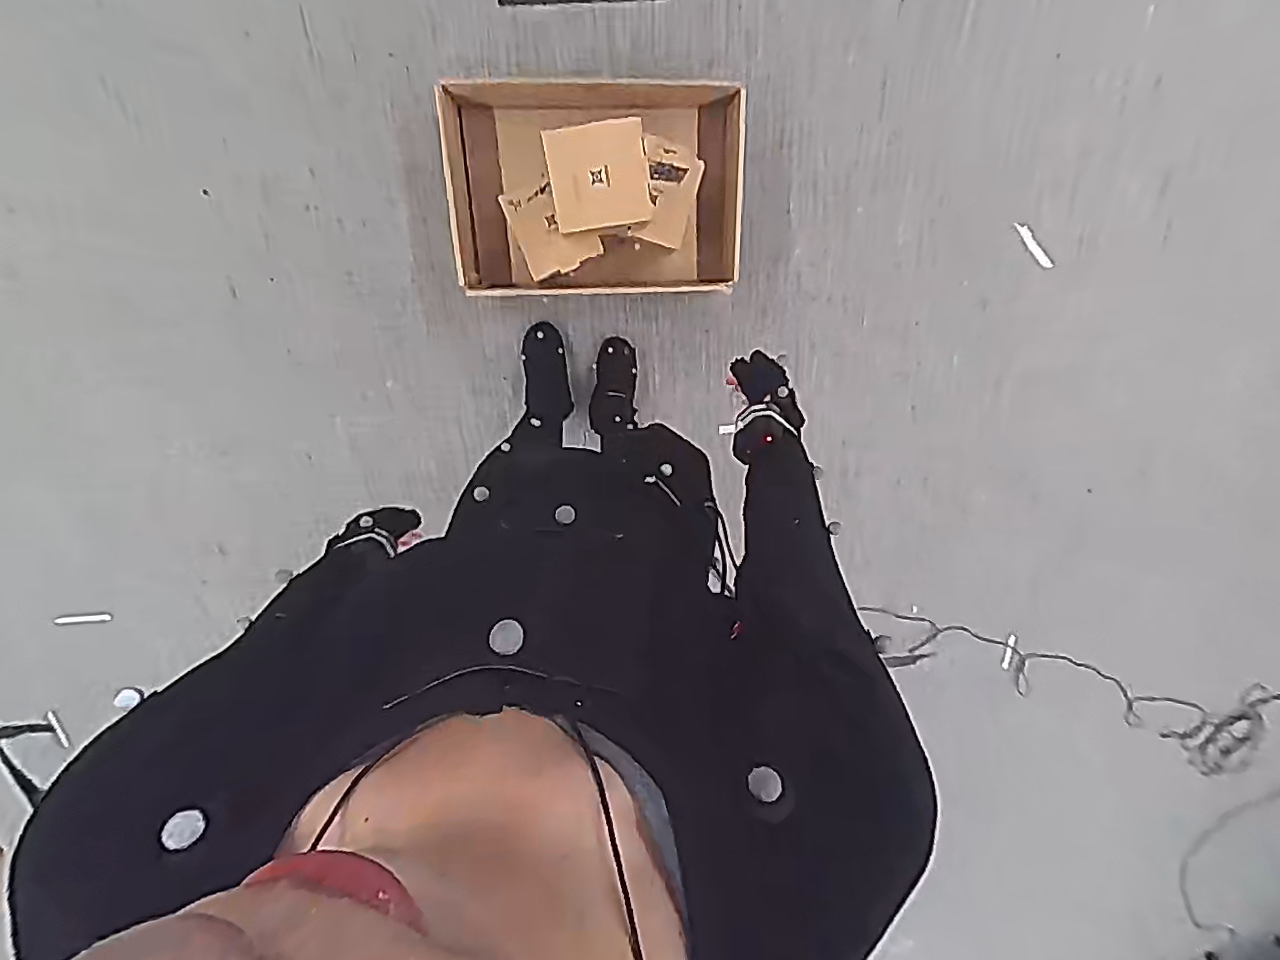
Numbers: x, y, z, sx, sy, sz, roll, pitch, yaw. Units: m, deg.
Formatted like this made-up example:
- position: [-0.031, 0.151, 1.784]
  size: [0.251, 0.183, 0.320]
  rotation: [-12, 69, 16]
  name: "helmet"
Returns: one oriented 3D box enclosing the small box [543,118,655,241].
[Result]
- position: [-0.076, -0.557, 1.022]
  size: [0.179, 0.176, 0.168]
  rotation: [-10, 109, -1]
  name: "small box"
